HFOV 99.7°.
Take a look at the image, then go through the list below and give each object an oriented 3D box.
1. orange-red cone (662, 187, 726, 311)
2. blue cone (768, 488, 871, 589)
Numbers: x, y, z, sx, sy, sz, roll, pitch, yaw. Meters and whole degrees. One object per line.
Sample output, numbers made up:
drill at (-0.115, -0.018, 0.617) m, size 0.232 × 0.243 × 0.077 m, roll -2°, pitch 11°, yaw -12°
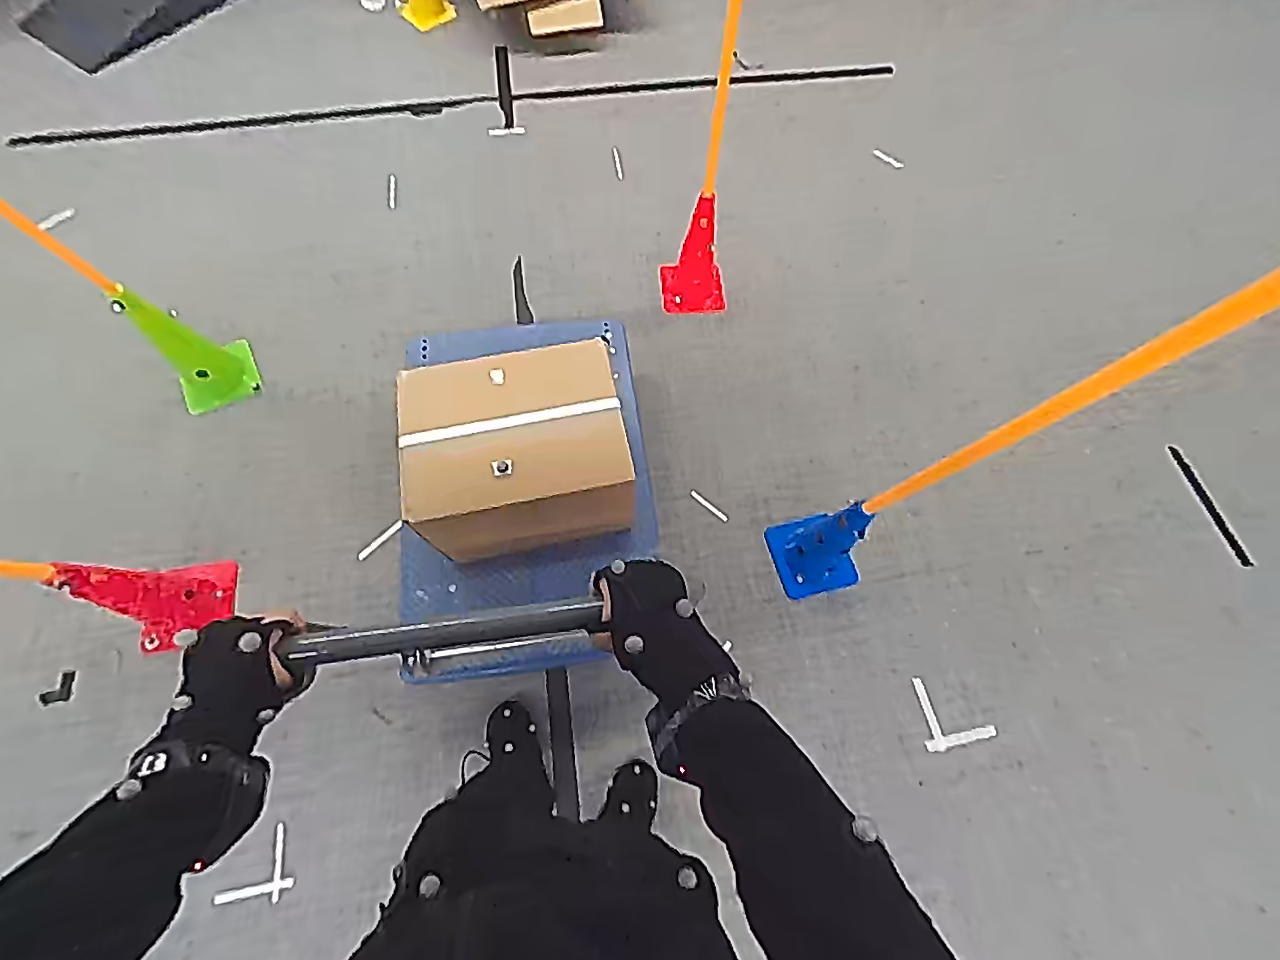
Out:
orange-red cone at (0.180, -0.692, 1.586) m, size 0.199 × 0.360 × 0.198 m, roll -2°, pitch 68°, yaw -4°
blue cone at (0.455, 0.117, 1.270) m, size 0.193 × 0.380 × 0.192 m, roll -12°, pitch 67°, yaw -7°
